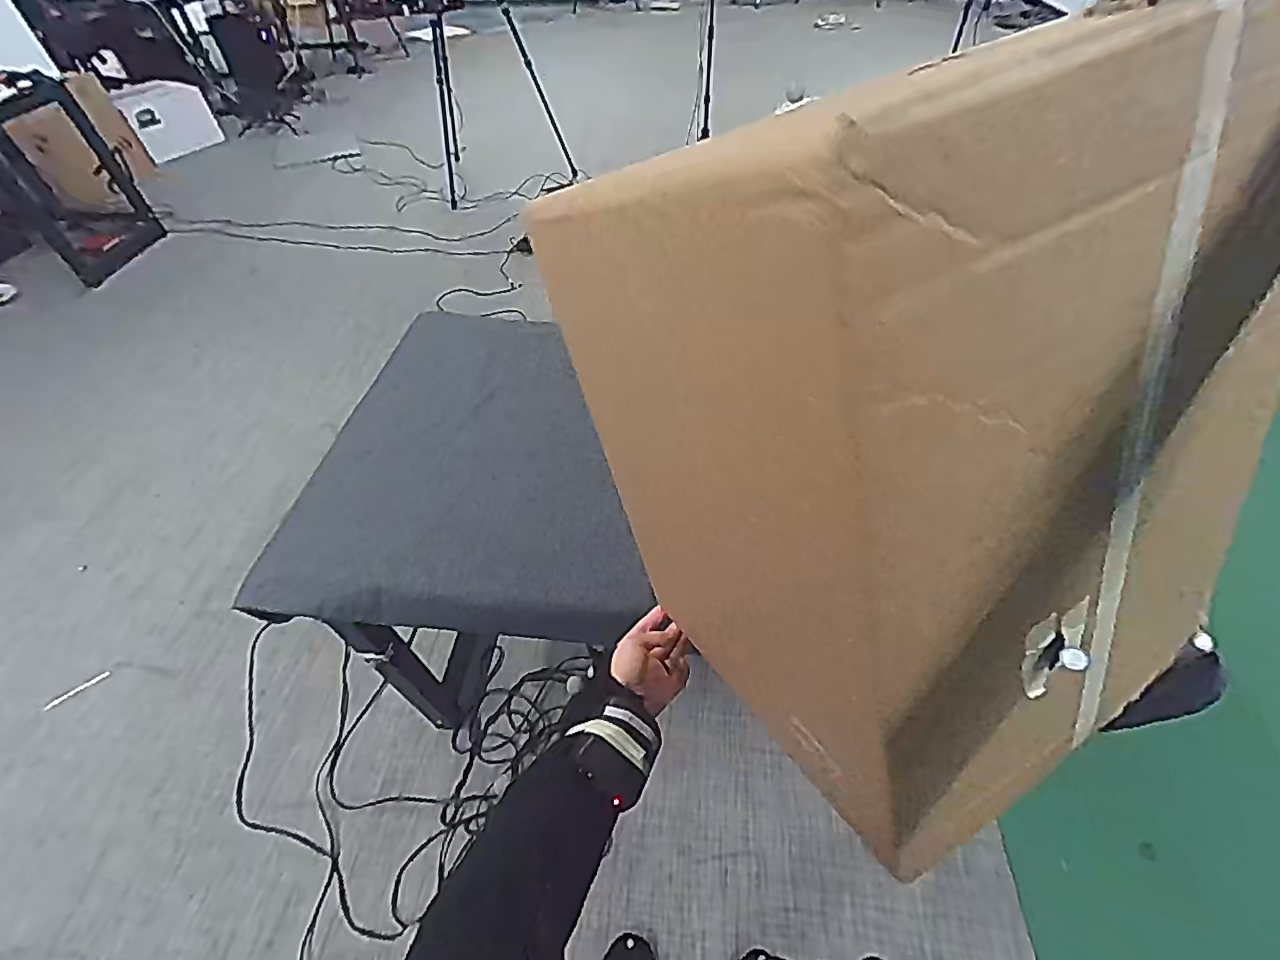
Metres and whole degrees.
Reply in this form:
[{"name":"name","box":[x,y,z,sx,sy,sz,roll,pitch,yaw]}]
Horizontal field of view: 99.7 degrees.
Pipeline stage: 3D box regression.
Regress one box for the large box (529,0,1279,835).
[{"name":"large box","box":[0.167,-0.048,0.412,0.320,0.408,0.320,-29,33,-15]}]
